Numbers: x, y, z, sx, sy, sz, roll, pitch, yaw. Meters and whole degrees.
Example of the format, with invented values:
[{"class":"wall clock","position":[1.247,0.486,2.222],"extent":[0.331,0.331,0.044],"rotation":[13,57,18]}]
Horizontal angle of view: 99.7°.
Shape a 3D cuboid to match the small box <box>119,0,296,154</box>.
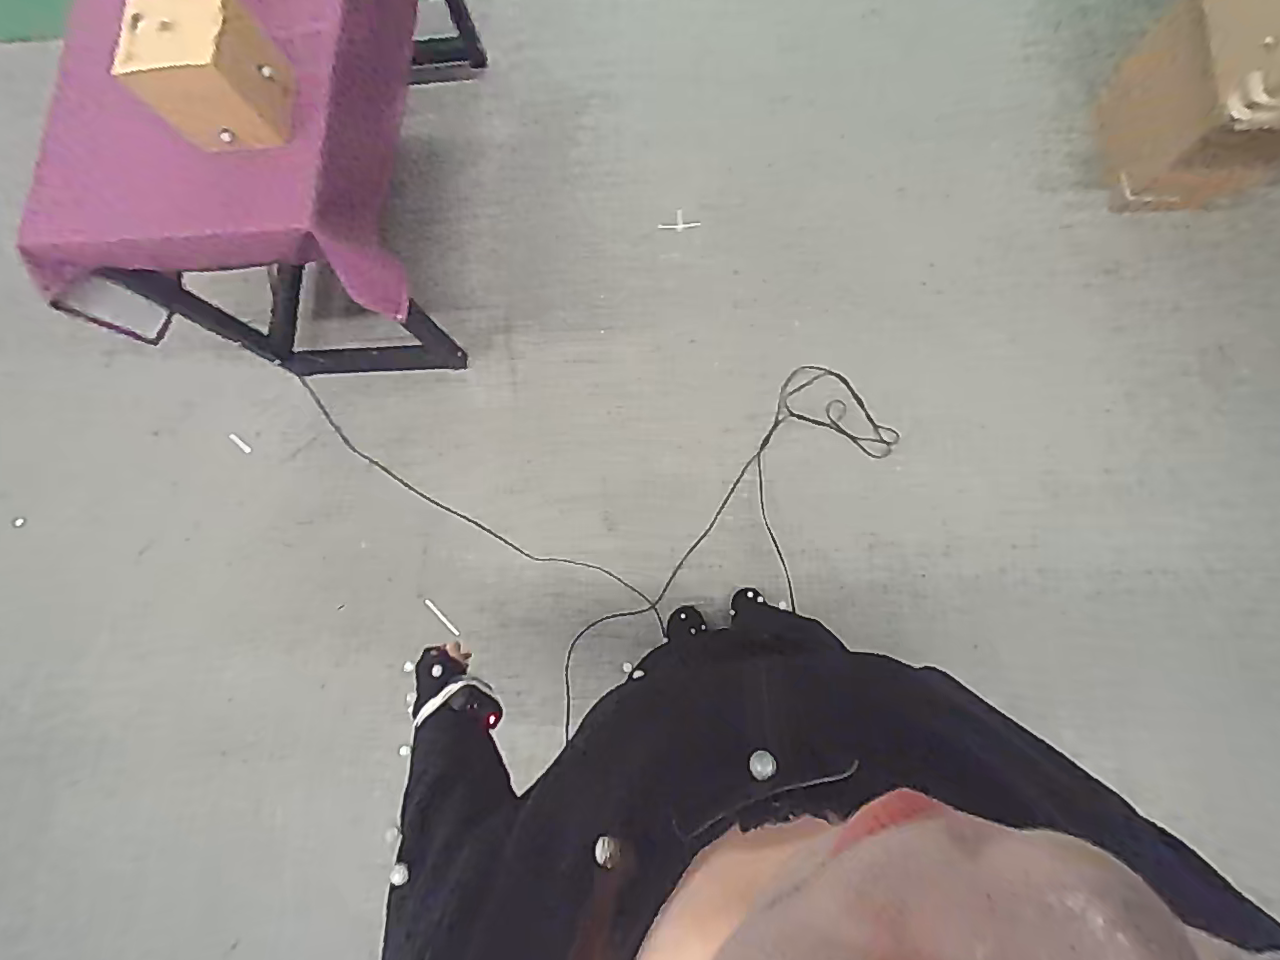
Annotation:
[{"class":"small box","position":[-0.757,-0.719,0.967],"extent":[0.179,0.176,0.168],"rotation":[-1,79,6]}]
